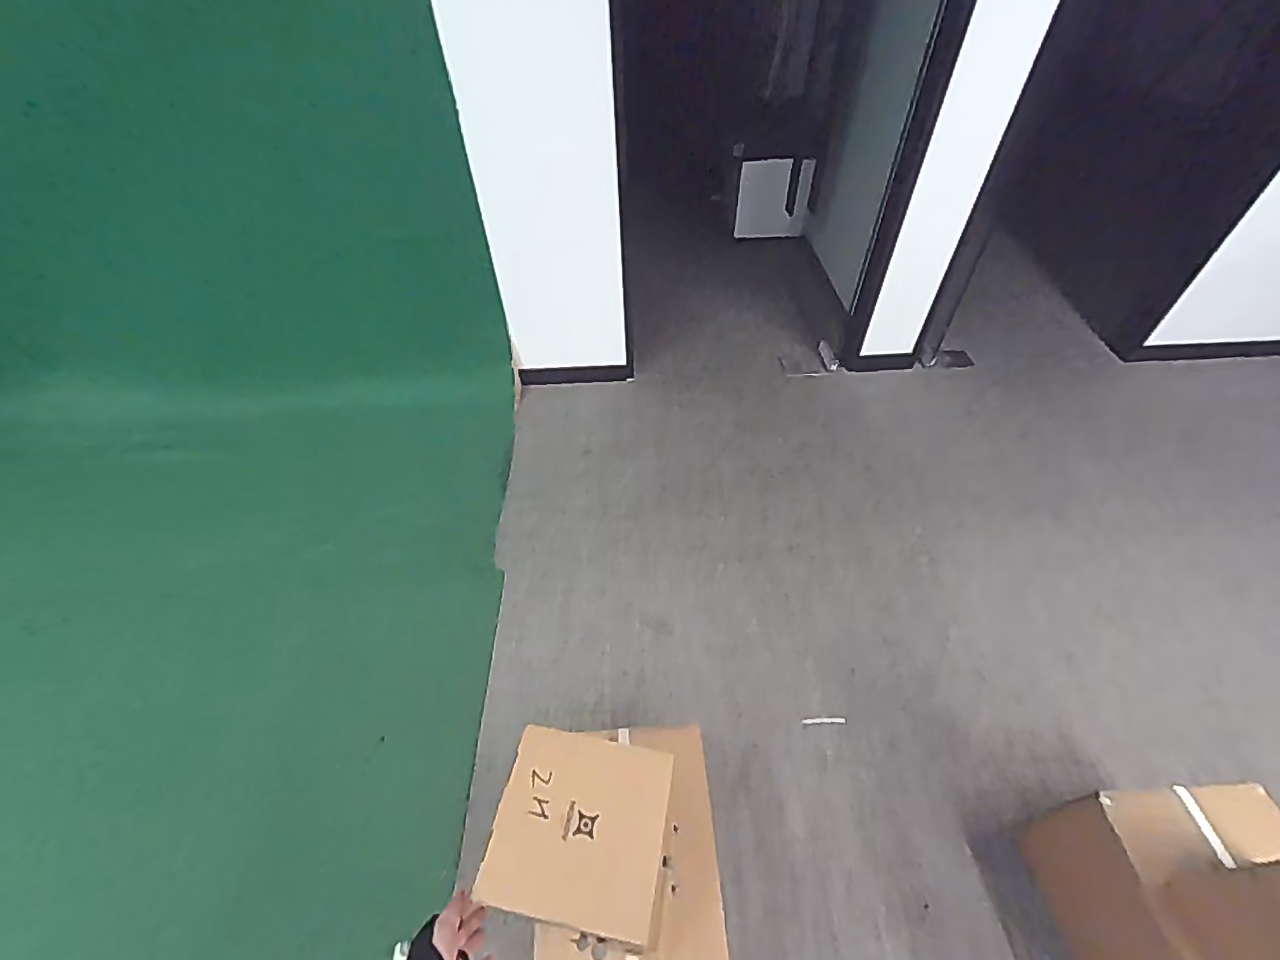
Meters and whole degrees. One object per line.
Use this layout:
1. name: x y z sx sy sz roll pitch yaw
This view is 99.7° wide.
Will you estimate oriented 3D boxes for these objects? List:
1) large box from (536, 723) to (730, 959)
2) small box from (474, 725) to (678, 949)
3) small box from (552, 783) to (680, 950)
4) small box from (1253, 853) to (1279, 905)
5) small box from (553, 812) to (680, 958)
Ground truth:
1. large box: -0.015 0.752 1.071 0.320 0.320 0.408 -3 47 -1
2. small box: -0.056 0.407 0.617 0.179 0.176 0.168 8 49 10
3. small box: -0.040 0.513 0.742 0.168 0.176 0.179 6 50 10
4. small box: 0.963 0.550 0.667 0.168 0.176 0.179 -10 49 -5
5. small box: -0.028 0.628 0.857 0.168 0.176 0.179 4 49 7
